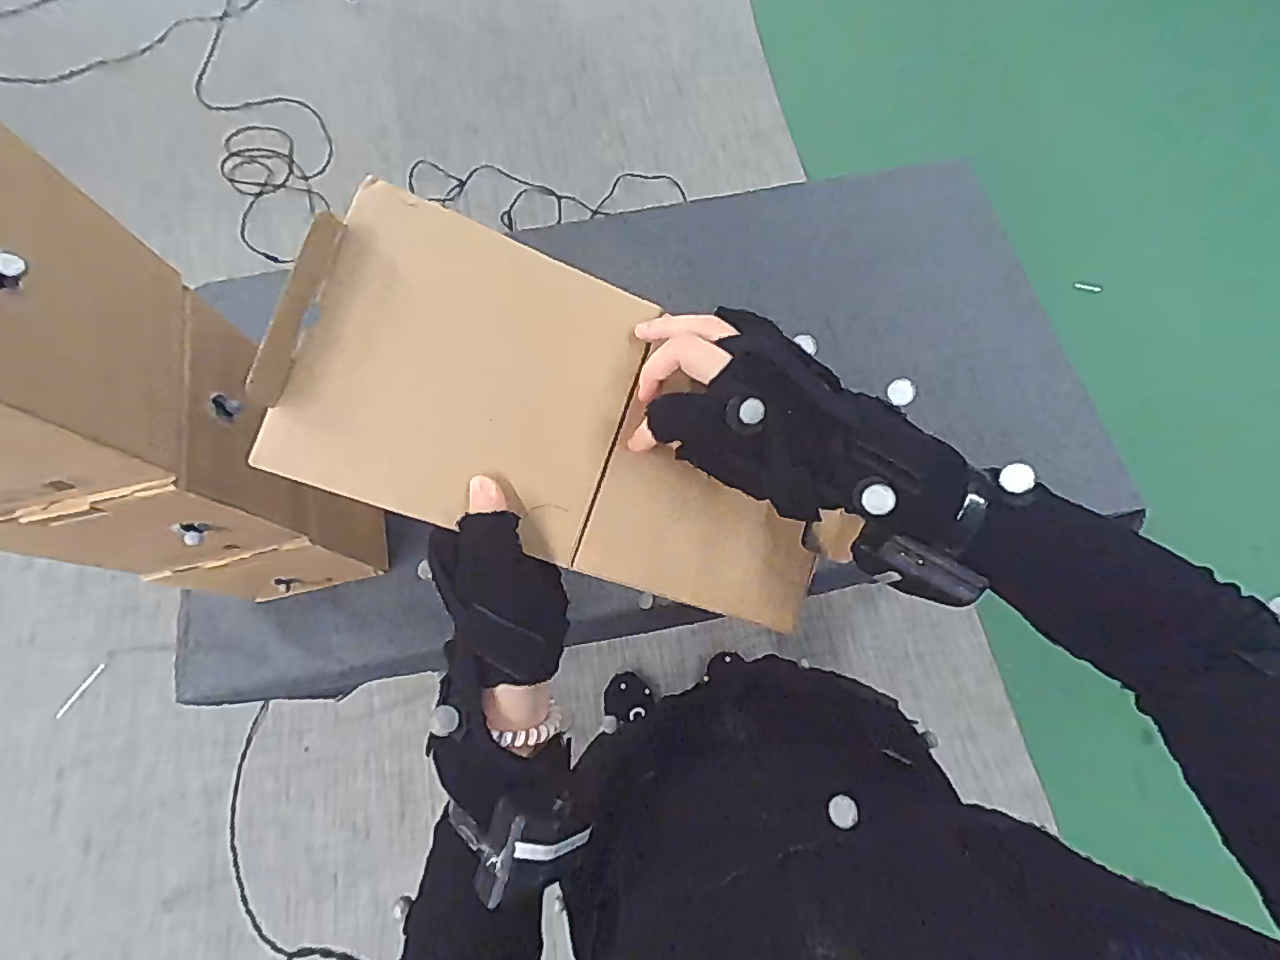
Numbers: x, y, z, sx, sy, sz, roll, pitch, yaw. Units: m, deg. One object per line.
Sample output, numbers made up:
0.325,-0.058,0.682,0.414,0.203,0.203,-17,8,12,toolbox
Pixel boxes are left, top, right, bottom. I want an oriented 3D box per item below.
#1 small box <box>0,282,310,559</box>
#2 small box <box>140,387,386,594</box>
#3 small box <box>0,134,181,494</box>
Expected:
-0.415,-0.035,0.471,0.168,0.176,0.179,-11,71,-4,small box
-0.415,0.021,0.624,0.168,0.176,0.179,-12,72,-3,small box
-0.418,-0.095,0.318,0.168,0.176,0.179,-13,71,-5,small box
